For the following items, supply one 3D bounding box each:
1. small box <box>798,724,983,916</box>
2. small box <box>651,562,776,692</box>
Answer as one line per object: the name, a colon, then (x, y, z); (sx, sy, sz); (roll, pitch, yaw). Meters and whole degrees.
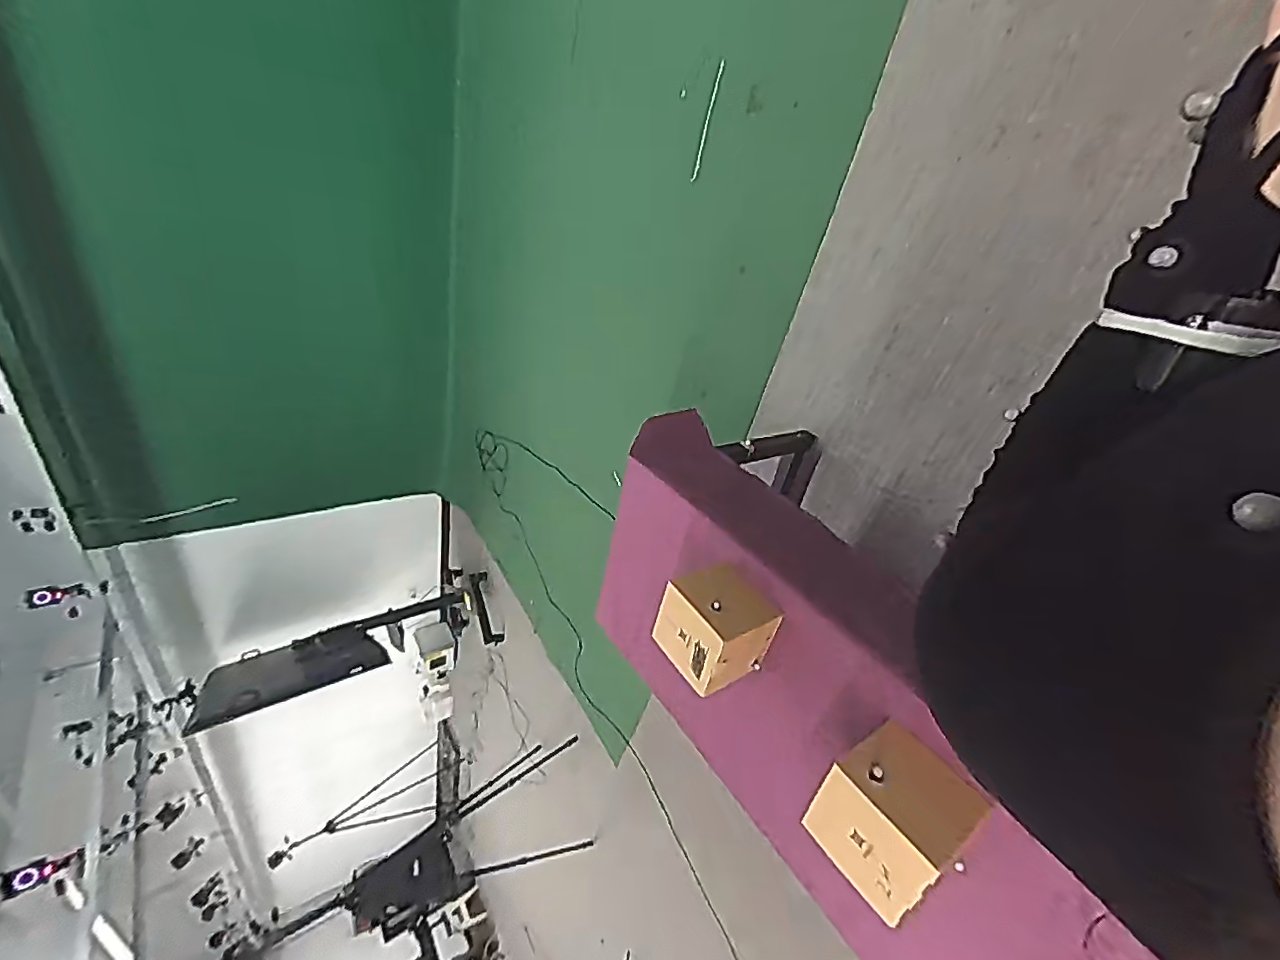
small box: (0.392, 0.520, 0.858); (0.179, 0.176, 0.168); (41, 131, 40)
small box: (0.152, 0.295, 1.125); (0.179, 0.176, 0.168); (44, 132, 39)
